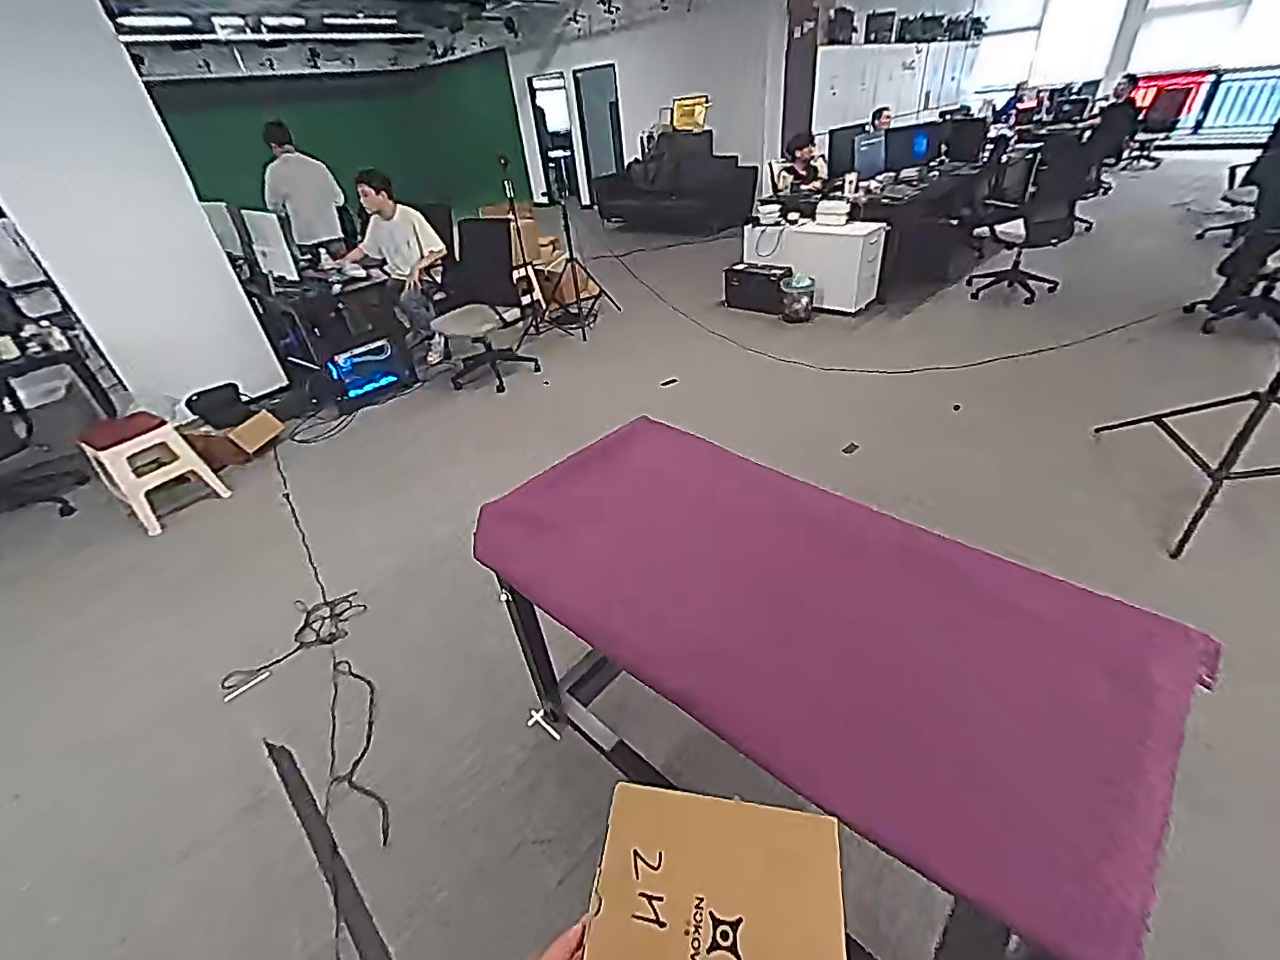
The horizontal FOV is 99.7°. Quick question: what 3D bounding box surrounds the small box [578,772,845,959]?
[{"bbox_3d":[0.058,0.358,0.424,0.179,0.176,0.168,2,43,13],"label":"small box"}]
